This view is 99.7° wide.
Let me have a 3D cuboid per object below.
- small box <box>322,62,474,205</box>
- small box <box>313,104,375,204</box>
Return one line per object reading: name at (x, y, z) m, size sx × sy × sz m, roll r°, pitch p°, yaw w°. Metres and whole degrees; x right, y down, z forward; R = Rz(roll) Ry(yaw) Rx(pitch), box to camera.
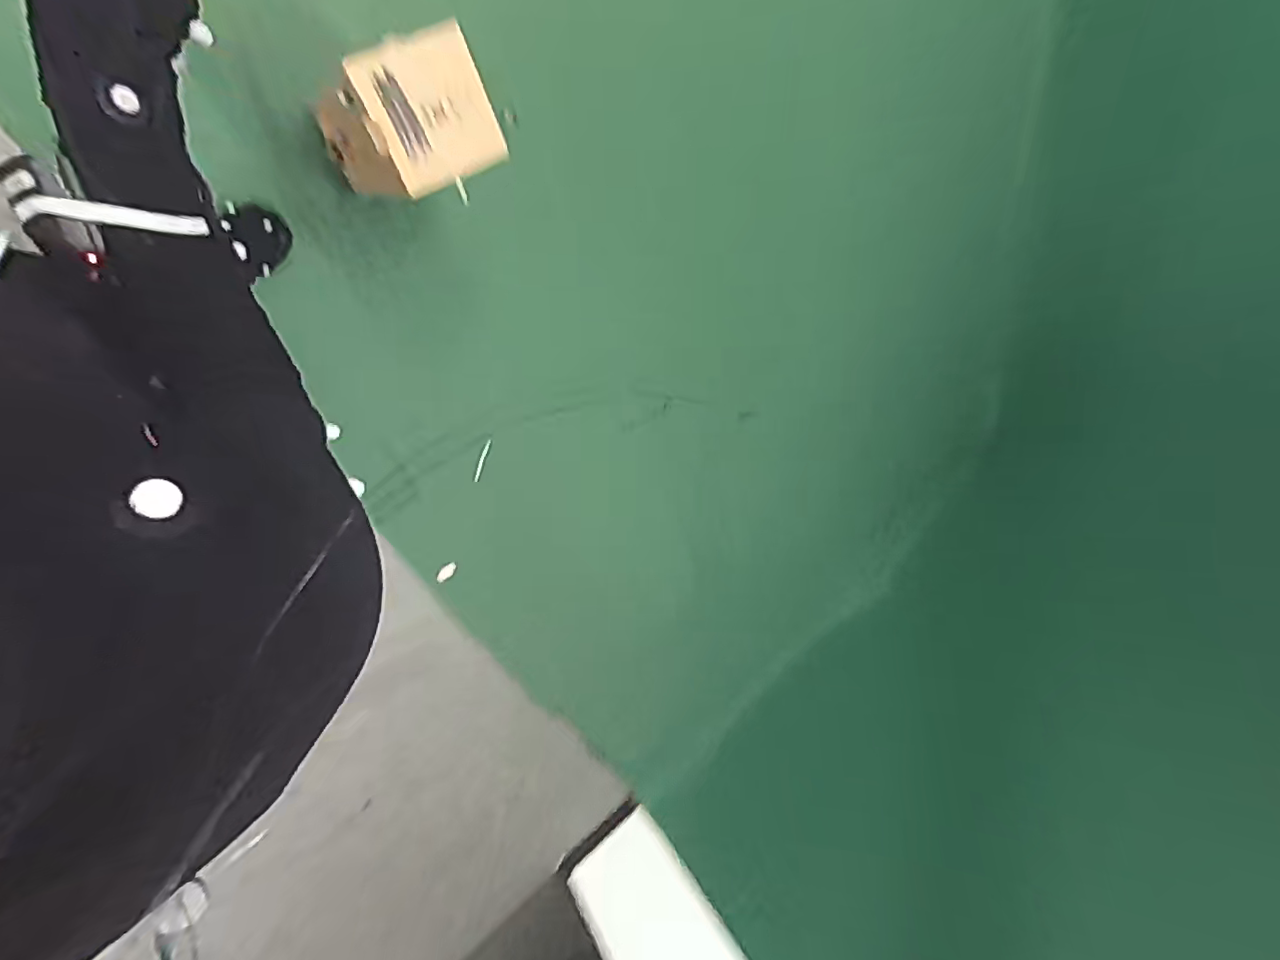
small box at (-0.434, -0.613, 0.967) m, size 0.179 × 0.176 × 0.168 m, roll -35°, pitch 130°, yaw -16°
small box at (-0.523, -0.676, 1.089) m, size 0.179 × 0.176 × 0.168 m, roll -34°, pitch 129°, yaw -18°
